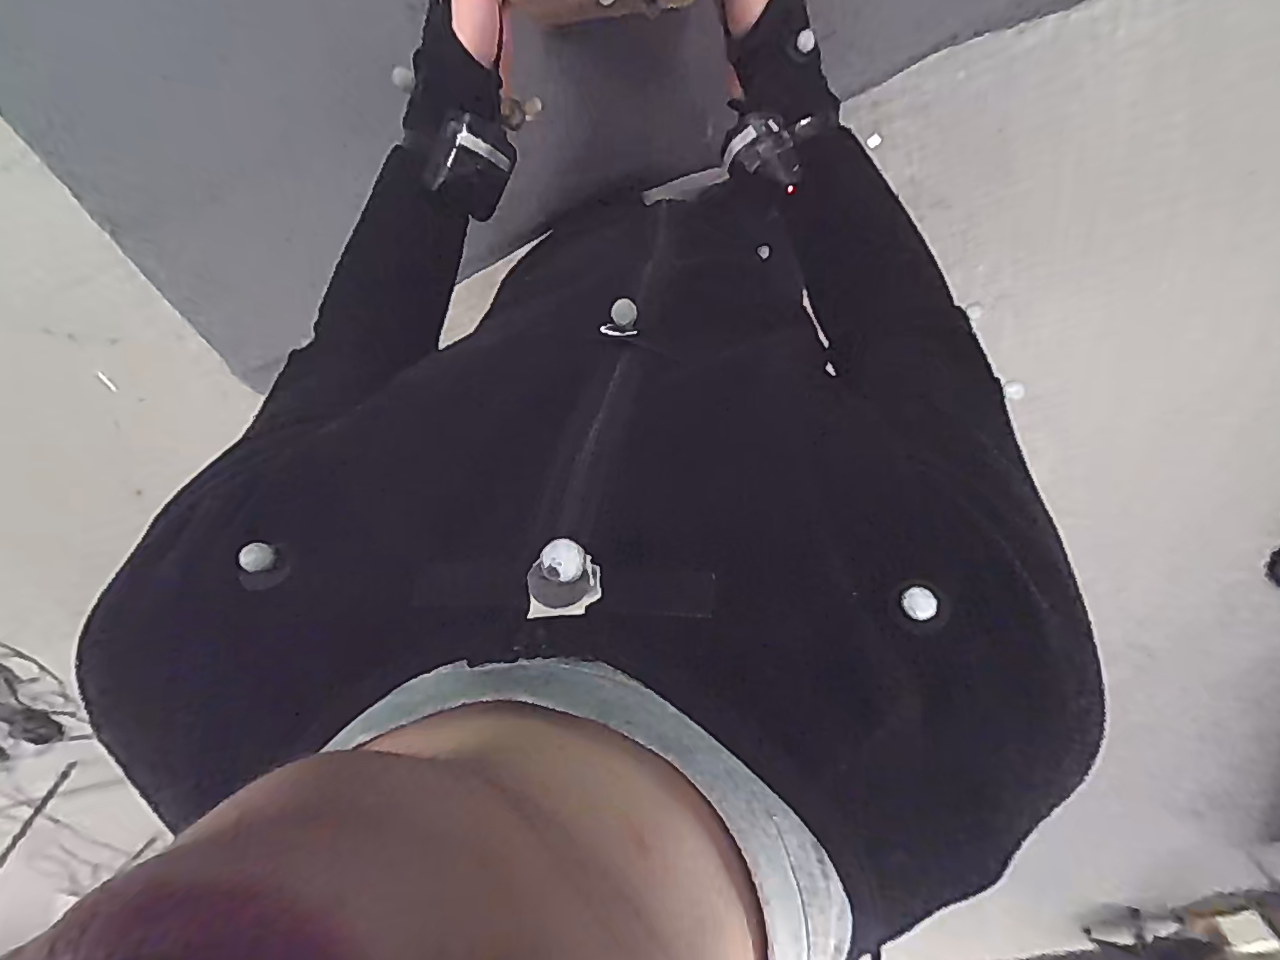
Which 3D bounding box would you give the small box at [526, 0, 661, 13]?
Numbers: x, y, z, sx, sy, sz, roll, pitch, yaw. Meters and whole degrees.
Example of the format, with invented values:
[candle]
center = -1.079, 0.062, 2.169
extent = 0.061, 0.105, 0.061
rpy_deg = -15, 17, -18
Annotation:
[small box]
center = -0.018, -0.398, 0.309
extent = 0.168, 0.176, 0.179
rpy_deg = -6, 126, 1
